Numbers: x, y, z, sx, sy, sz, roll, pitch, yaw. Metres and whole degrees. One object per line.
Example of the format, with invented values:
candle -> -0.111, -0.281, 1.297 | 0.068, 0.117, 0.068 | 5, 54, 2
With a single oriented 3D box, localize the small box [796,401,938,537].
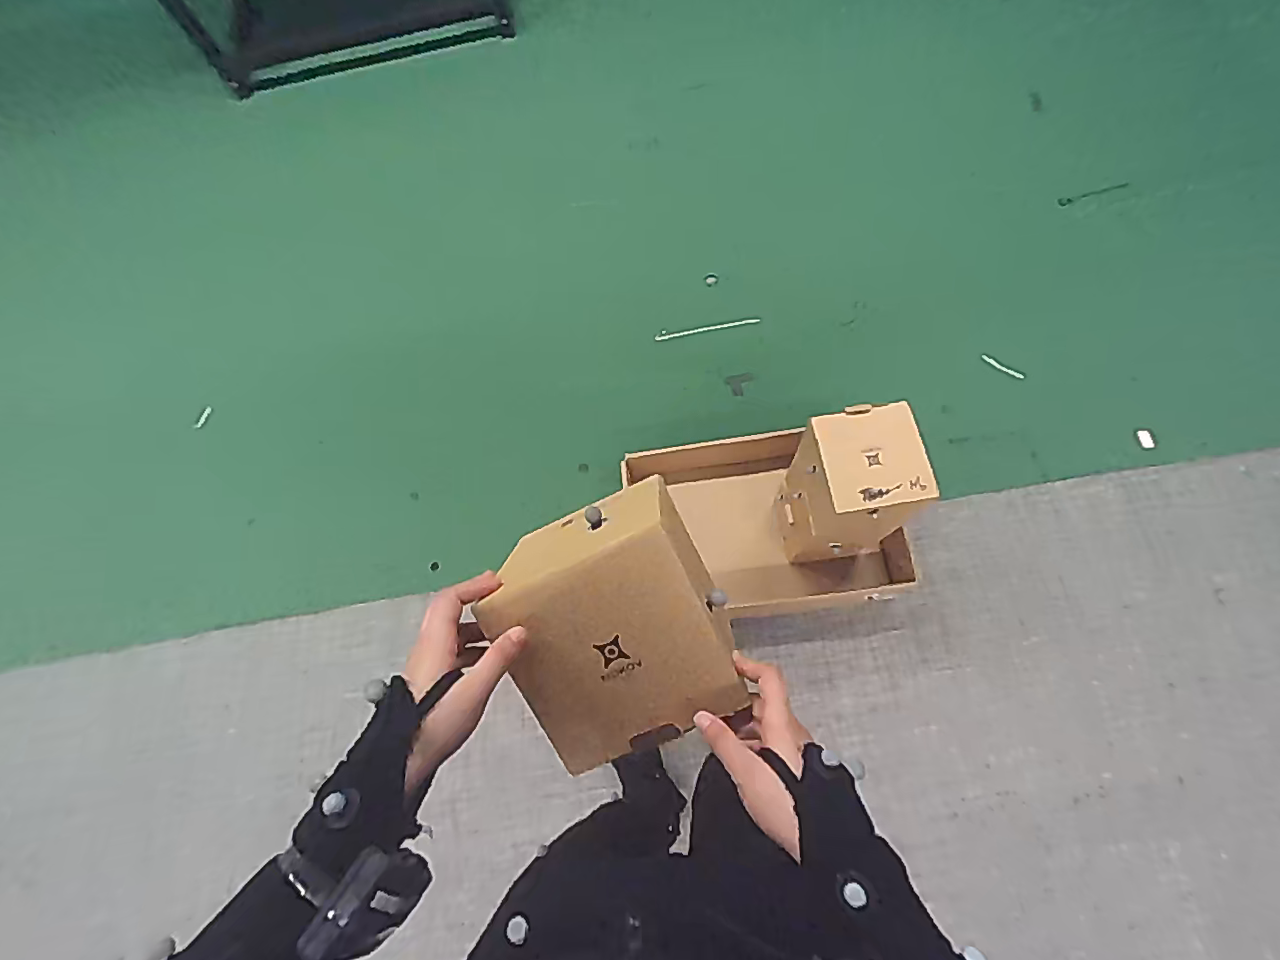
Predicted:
small box -> 0.385, -0.014, 0.955 | 0.168, 0.176, 0.179 | -10, 69, 4

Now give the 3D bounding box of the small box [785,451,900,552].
small box -> 0.403, 0.040, 1.110 | 0.168, 0.176, 0.179 | -7, 71, 5

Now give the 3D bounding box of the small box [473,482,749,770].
small box -> -0.021, 0.114, 0.500 | 0.168, 0.176, 0.179 | -26, 101, 6
